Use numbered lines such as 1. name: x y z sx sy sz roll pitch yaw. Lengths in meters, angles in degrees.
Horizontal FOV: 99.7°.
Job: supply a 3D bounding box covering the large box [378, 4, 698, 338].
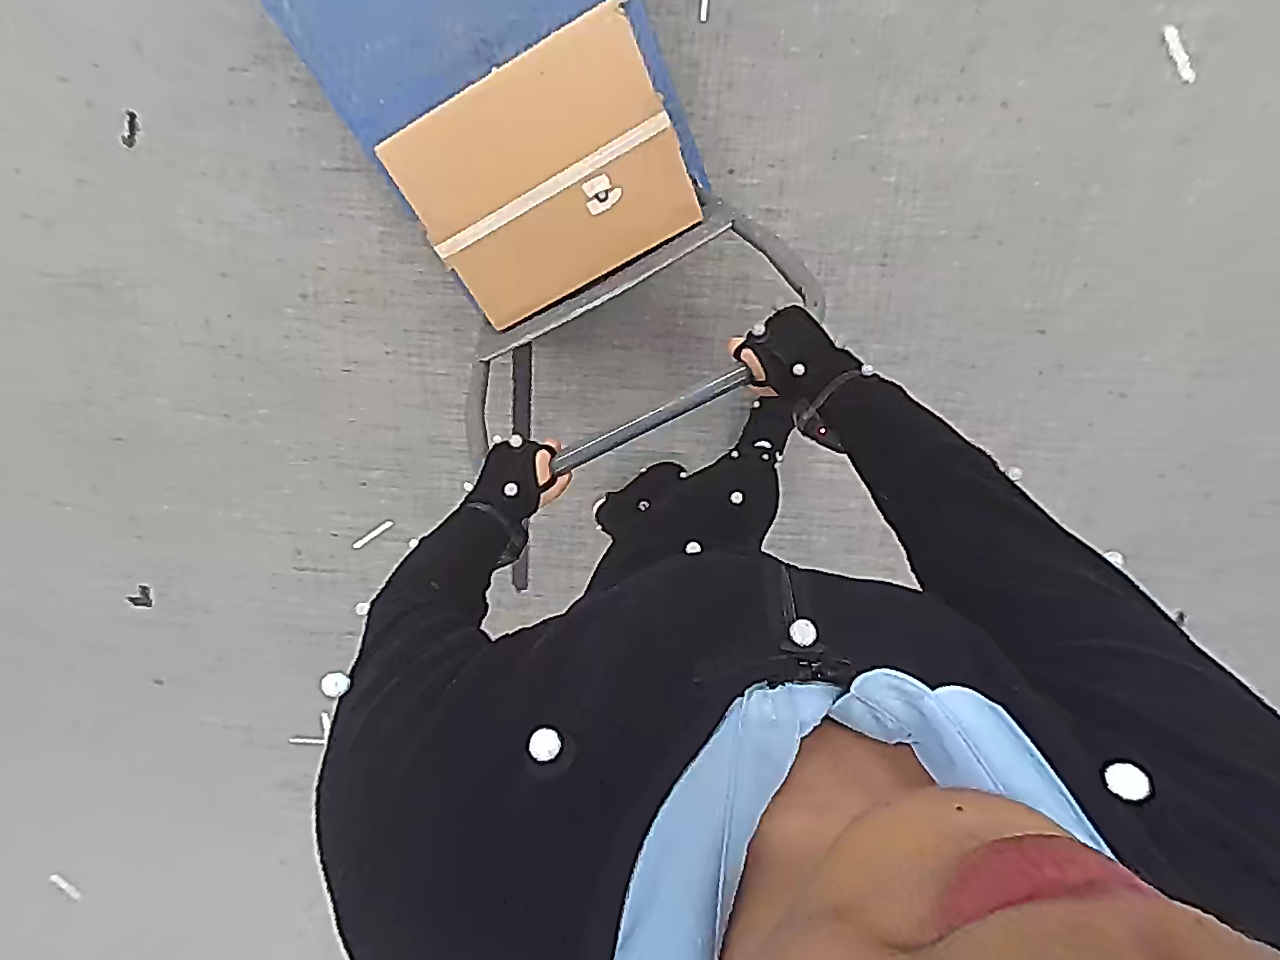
1. large box: -0.167 -0.524 0.960 0.408 0.320 0.320 -27 124 8
